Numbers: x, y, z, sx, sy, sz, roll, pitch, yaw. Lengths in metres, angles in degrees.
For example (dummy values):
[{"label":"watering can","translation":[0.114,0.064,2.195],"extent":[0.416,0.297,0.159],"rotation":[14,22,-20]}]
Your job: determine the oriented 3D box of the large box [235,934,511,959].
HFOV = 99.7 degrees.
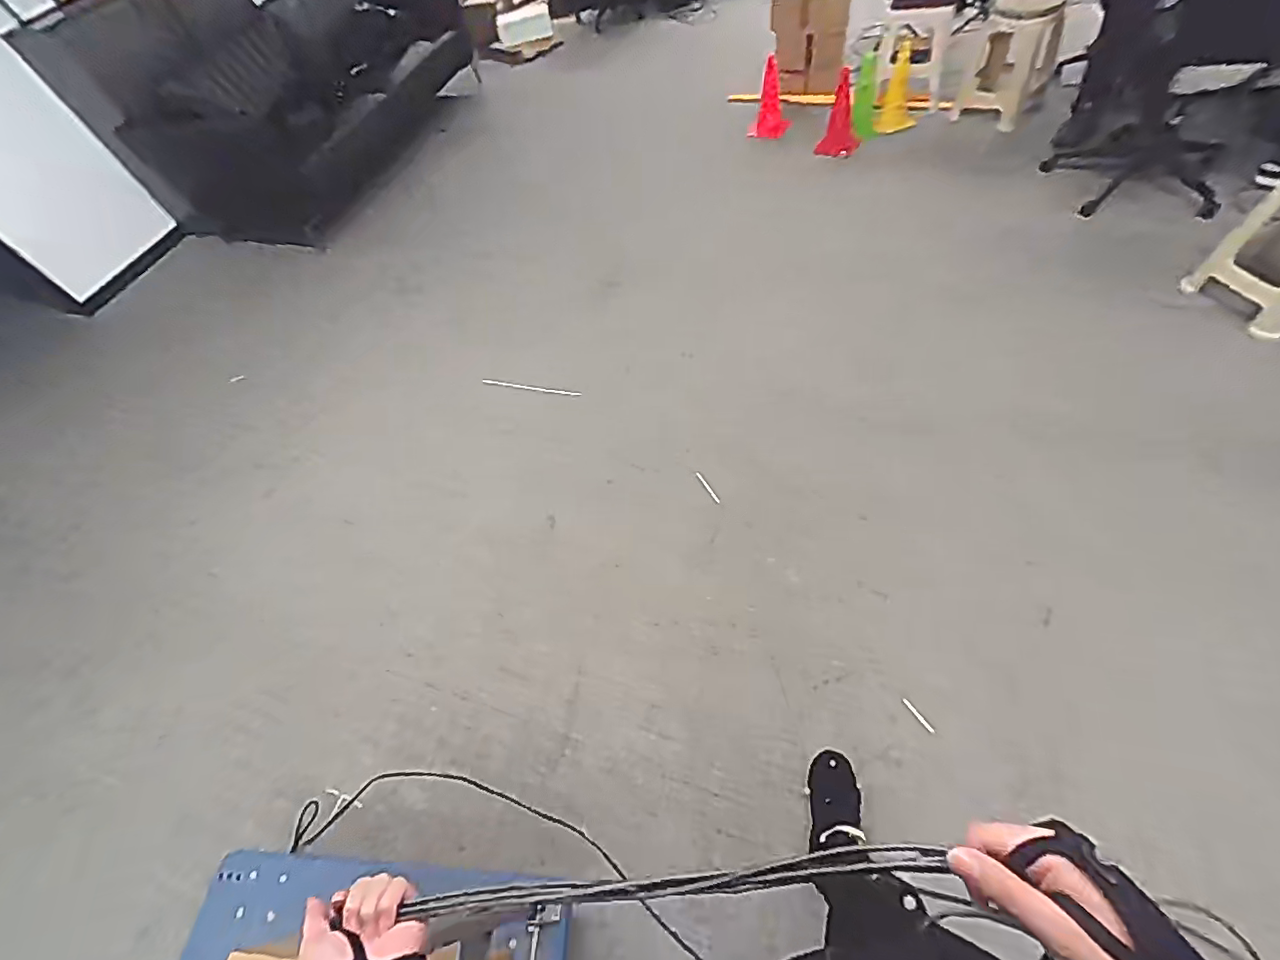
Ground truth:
[{"label":"large box","translation":[-0.484,1.017,0.933],"extent":[0.408,0.320,0.320],"rotation":[-3,55,11]}]
